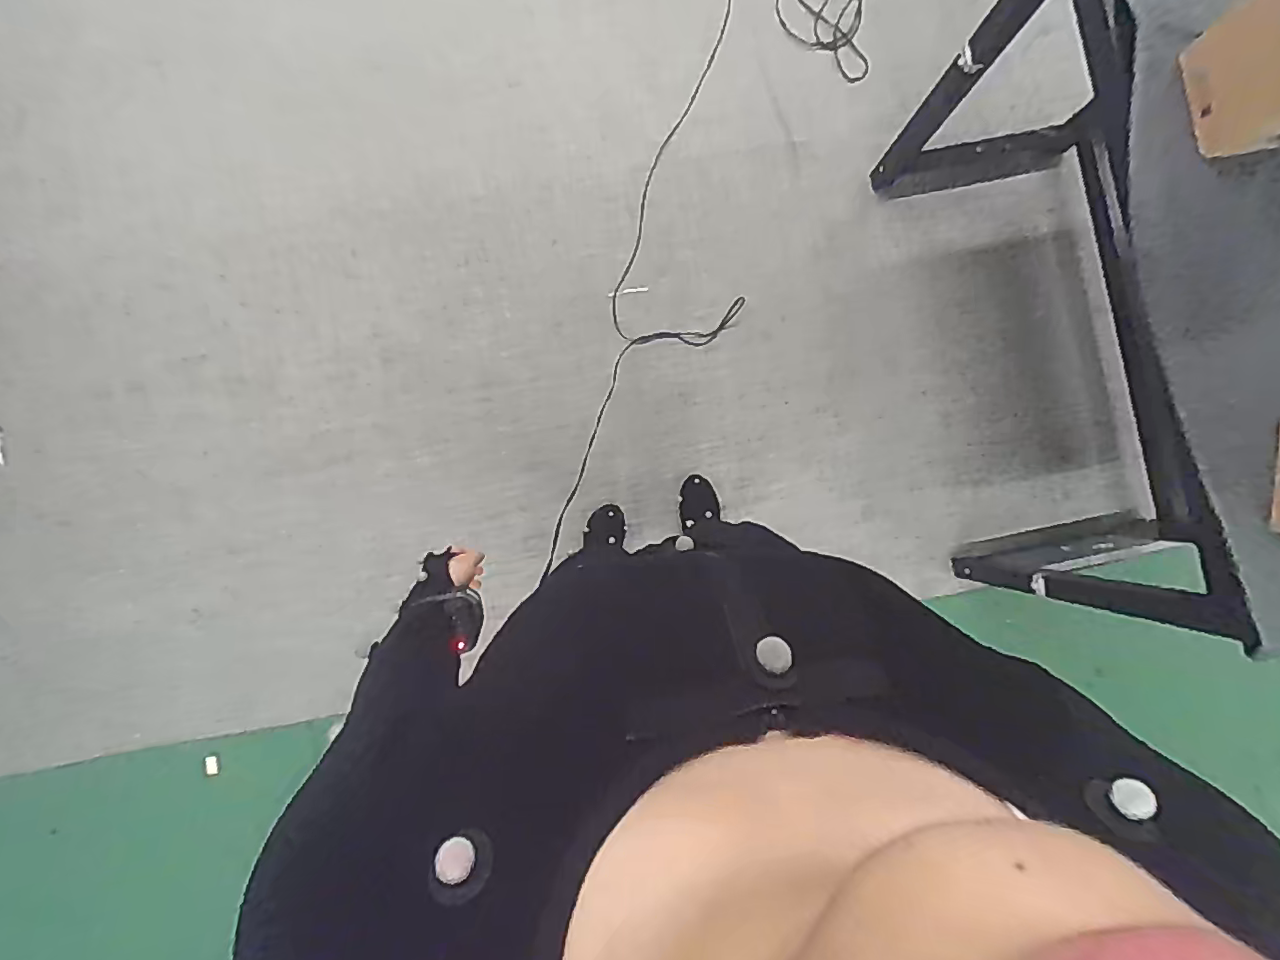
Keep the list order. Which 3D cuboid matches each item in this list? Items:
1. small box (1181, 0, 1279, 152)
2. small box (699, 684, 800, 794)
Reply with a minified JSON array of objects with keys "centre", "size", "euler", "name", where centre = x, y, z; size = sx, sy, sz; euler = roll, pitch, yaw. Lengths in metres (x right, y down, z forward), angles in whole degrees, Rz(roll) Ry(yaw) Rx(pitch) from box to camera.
[{"centre":[0.896,-0.576,0.719],"size":[0.179,0.176,0.168],"euler":[-11,88,-3],"name":"small box"},{"centre":[0.270,0.649,1.384],"size":[0.179,0.176,0.168],"euler":[35,87,0],"name":"small box"}]
